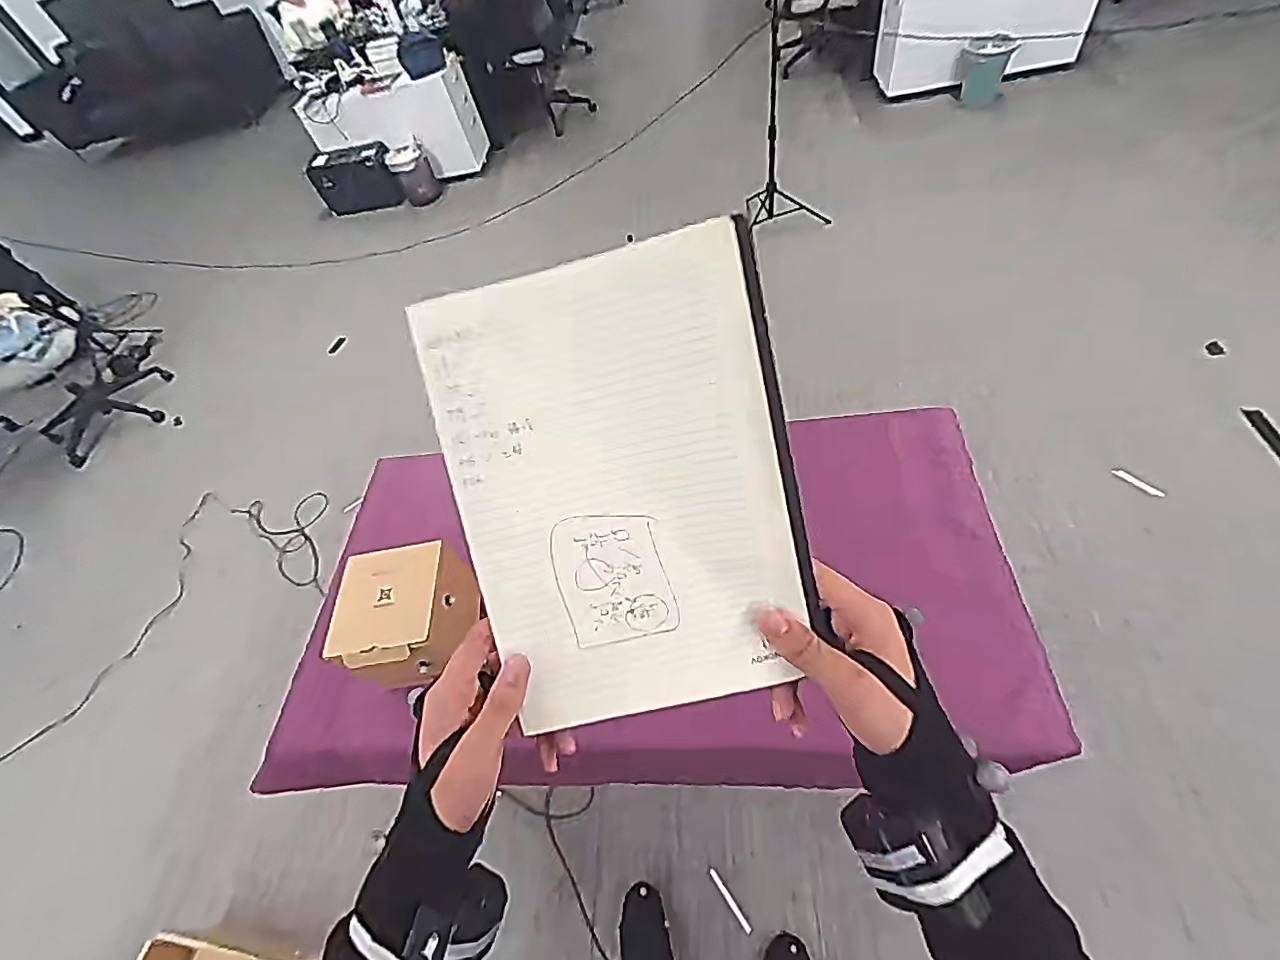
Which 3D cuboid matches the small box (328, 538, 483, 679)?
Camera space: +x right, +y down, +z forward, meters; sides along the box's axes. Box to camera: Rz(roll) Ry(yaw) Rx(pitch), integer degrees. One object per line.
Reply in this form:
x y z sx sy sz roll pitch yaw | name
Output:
-0.376 0.222 0.905 0.168 0.176 0.179 -10 53 5 | small box
